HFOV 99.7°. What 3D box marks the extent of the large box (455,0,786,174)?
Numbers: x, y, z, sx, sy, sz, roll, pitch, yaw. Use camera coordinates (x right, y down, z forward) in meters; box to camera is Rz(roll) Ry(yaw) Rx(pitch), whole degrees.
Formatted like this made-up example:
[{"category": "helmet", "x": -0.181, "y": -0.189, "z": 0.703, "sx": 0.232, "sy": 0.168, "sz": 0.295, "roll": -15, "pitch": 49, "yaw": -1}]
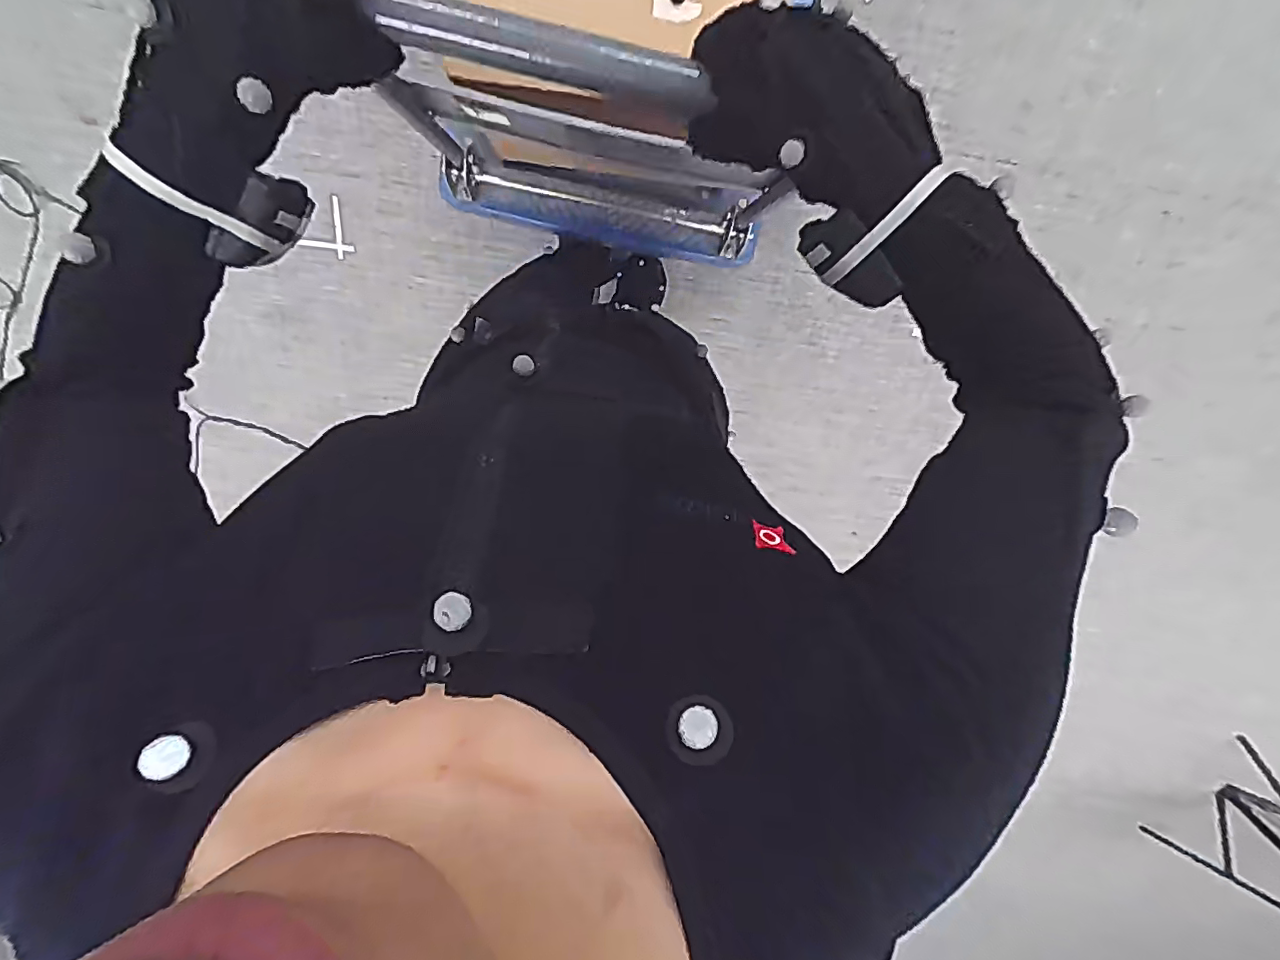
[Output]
[{"category": "large box", "x": -0.026, "y": -0.671, "z": 0.778, "sx": 0.408, "sy": 0.320, "sz": 0.320, "roll": 4, "pitch": 105, "yaw": -5}]
